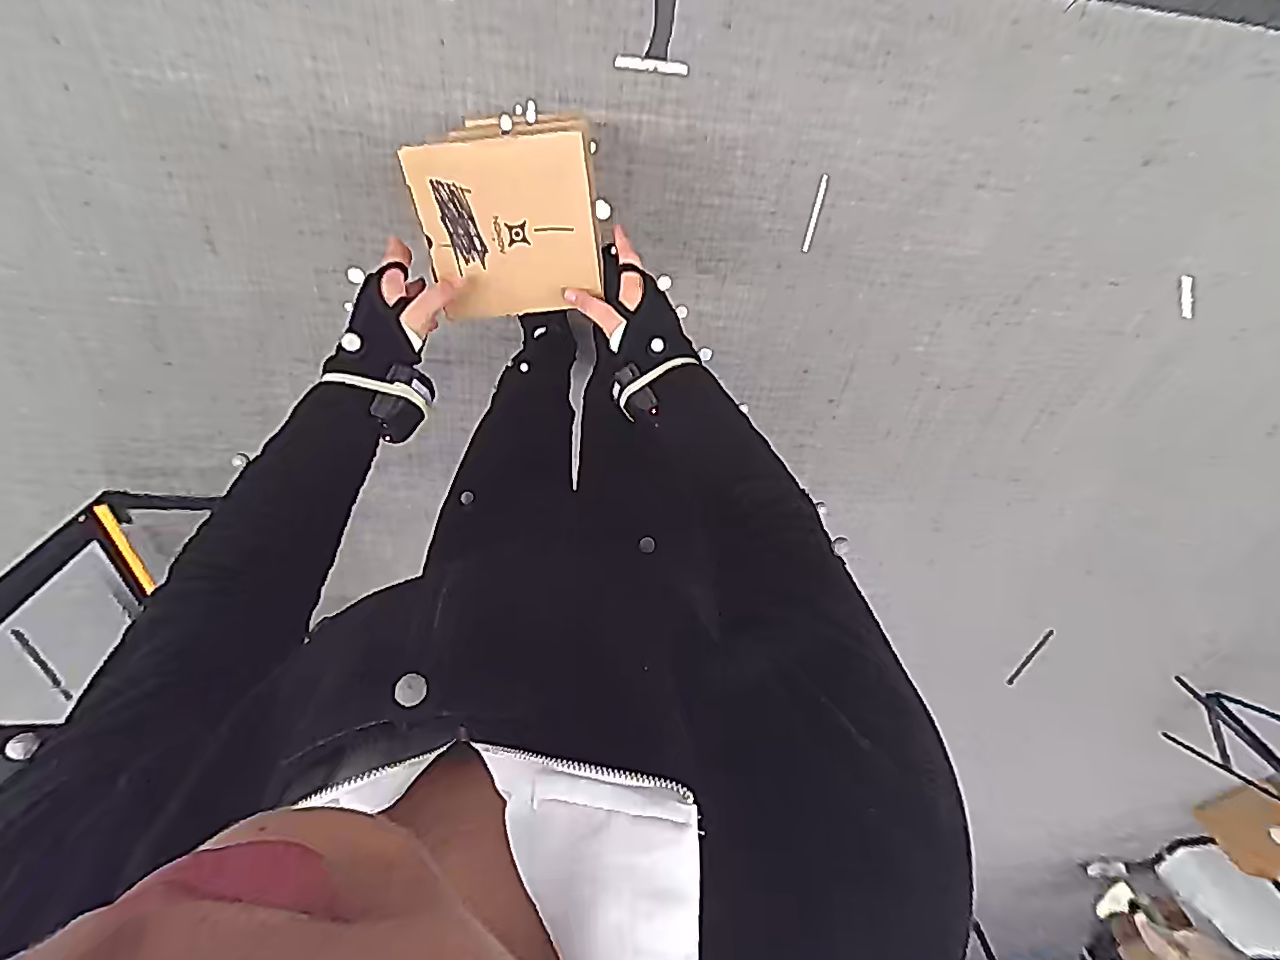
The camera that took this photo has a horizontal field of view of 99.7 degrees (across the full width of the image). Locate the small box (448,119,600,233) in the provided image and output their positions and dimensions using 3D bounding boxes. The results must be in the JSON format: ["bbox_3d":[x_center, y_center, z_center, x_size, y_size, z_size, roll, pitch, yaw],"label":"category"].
[{"bbox_3d":[-0.145,-0.388,0.752,0.168,0.176,0.179,-5,126,0],"label":"small box"}]

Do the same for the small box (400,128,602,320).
[{"bbox_3d":[-0.138,-0.295,0.615,0.179,0.176,0.168,-6,126,0],"label":"small box"}]
